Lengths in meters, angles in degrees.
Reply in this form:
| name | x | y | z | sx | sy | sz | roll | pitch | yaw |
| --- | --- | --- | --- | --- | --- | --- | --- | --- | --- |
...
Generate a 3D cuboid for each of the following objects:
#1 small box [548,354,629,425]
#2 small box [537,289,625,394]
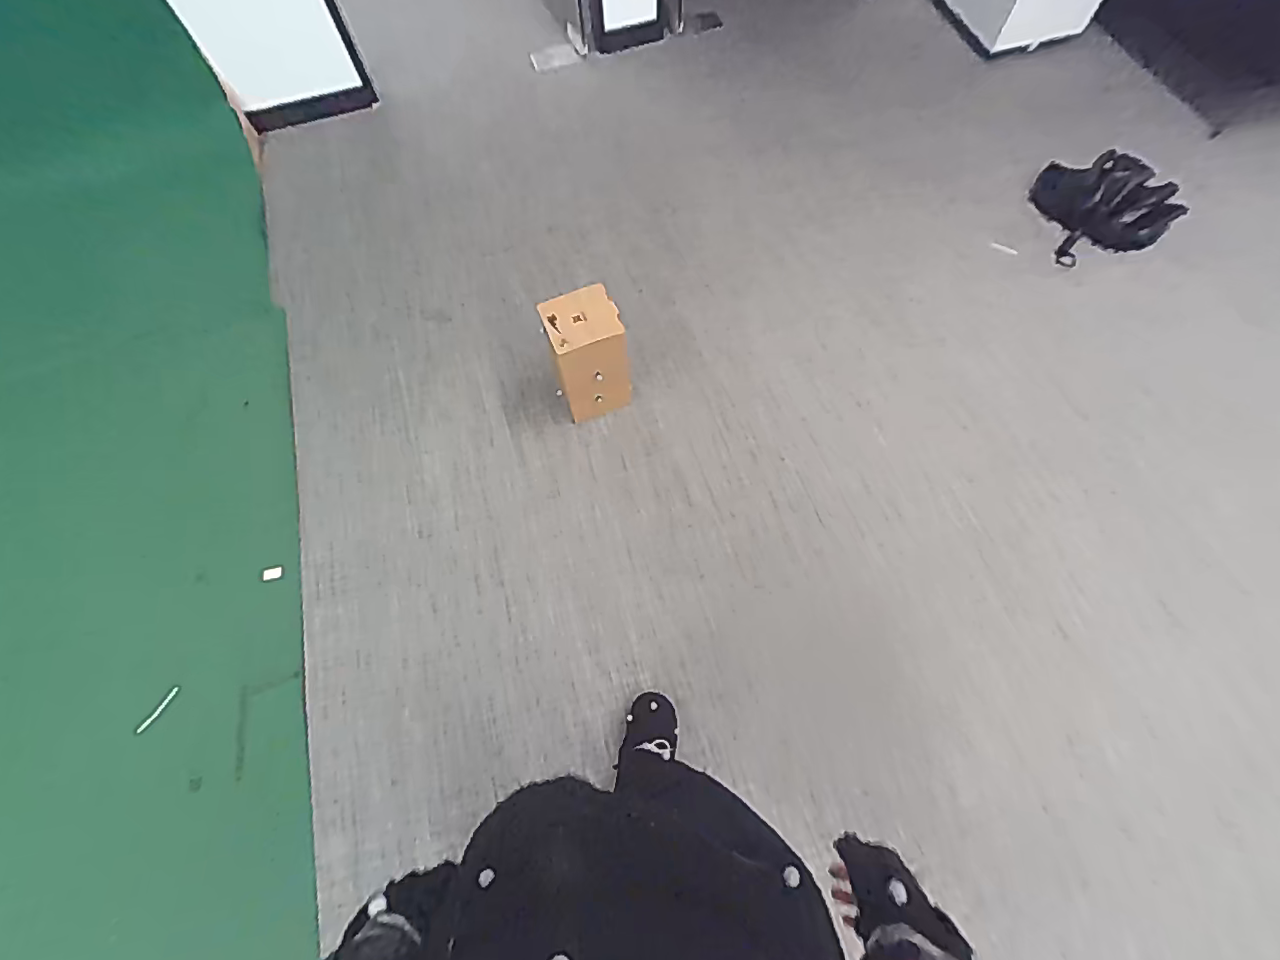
| name | x | y | z | sx | sy | sz | roll | pitch | yaw |
| --- | --- | --- | --- | --- | --- | --- | --- | --- | --- |
| small box | -0.141 | -0.287 | 1.532 | 0.179 | 0.176 | 0.168 | -25 | 68 | -10 |
| small box | -0.145 | -0.349 | 1.381 | 0.179 | 0.176 | 0.168 | -20 | 67 | -8 |
